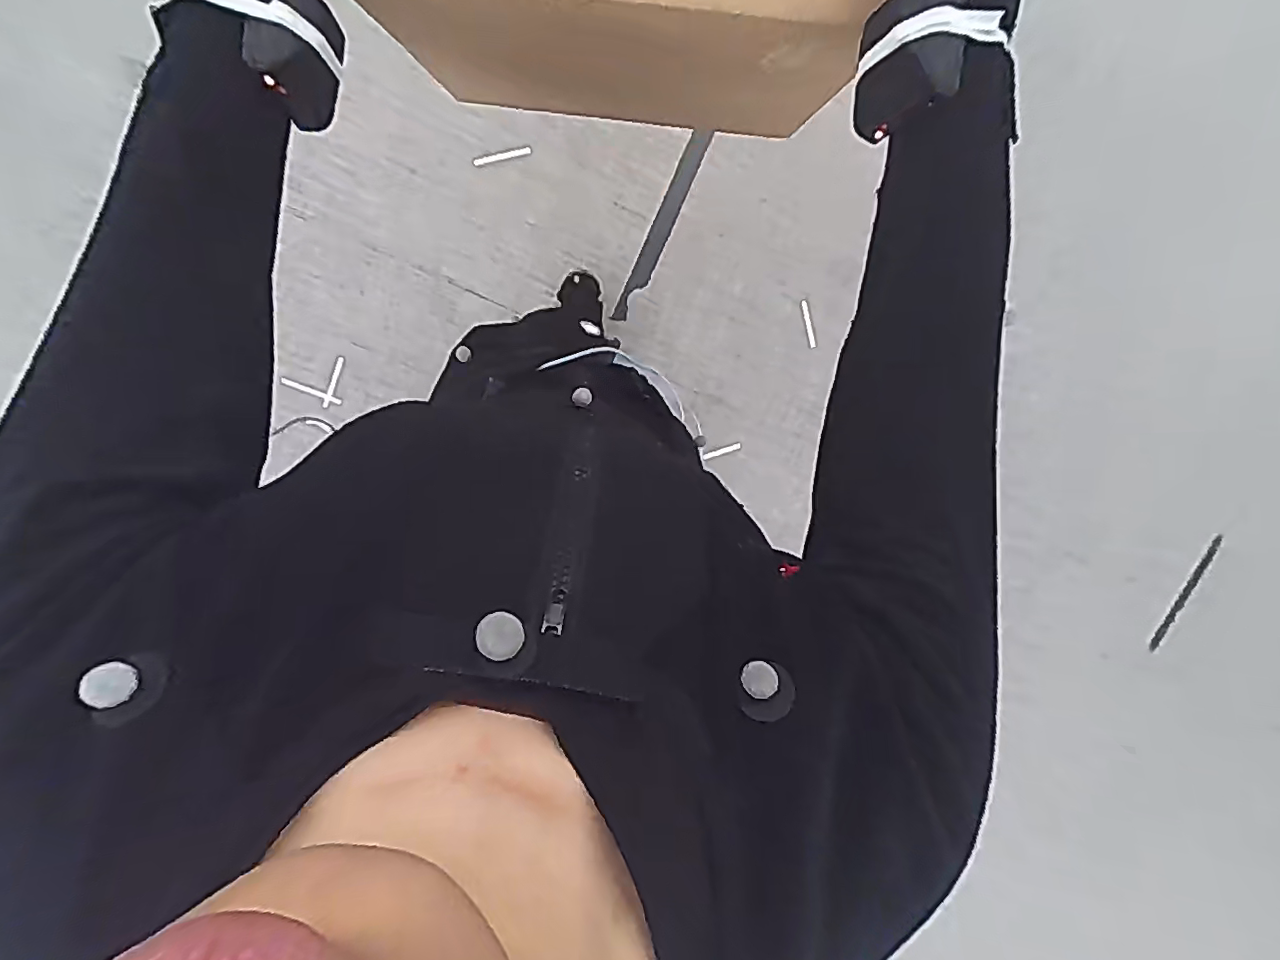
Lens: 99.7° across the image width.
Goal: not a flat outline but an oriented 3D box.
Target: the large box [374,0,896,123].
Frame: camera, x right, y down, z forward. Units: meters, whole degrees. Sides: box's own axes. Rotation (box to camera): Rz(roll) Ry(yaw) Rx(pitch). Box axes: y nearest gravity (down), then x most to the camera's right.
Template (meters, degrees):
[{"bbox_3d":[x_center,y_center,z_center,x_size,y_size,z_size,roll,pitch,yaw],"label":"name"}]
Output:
[{"bbox_3d":[-0.009,-0.535,0.460,0.408,0.320,0.320,4,111,-3],"label":"large box"}]
